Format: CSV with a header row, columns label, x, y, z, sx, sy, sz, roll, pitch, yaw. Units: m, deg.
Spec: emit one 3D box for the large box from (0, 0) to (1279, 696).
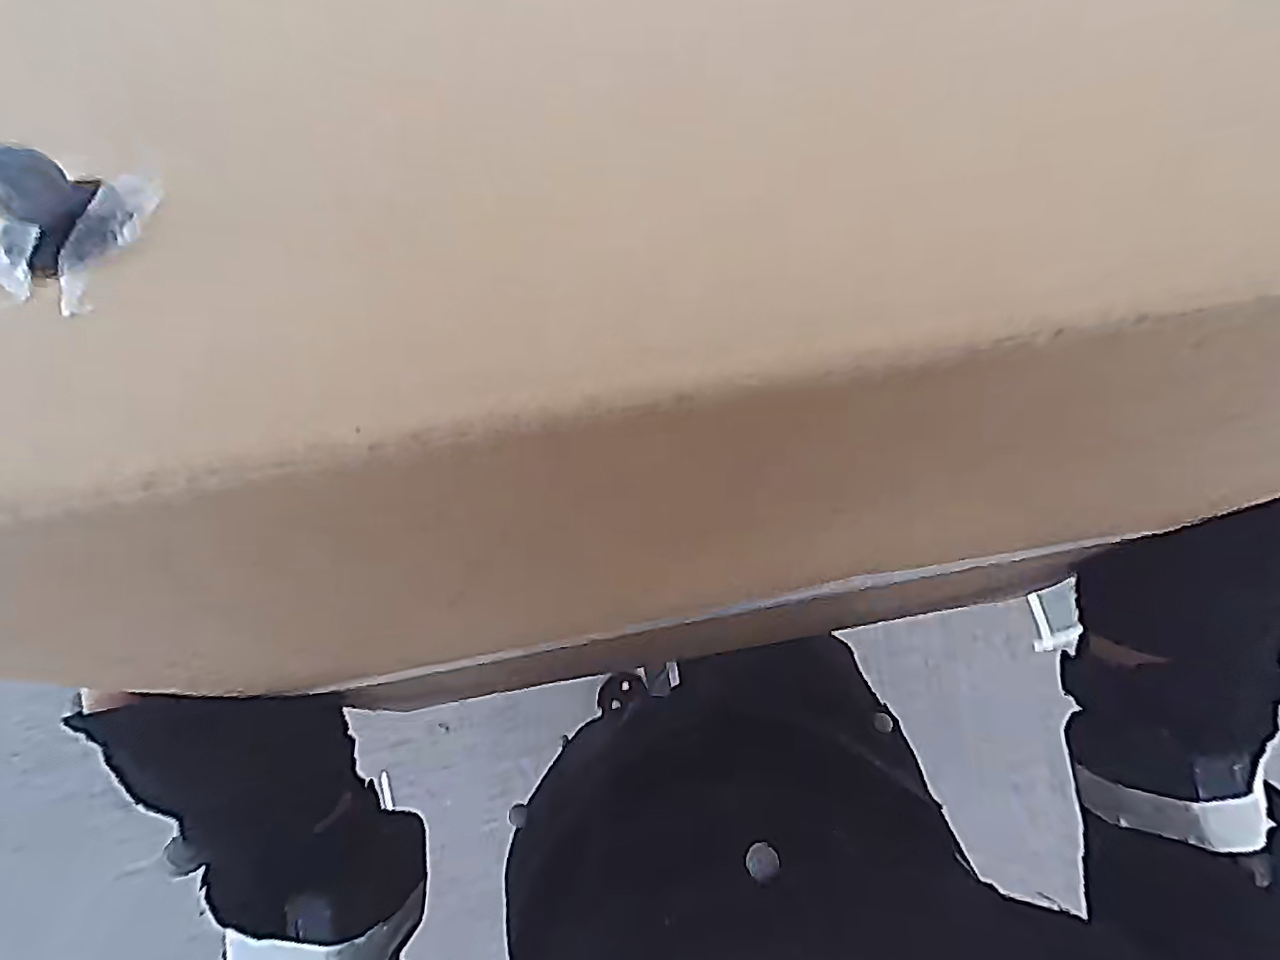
label,x,y,z,sx,sy,sz,roll,pitch,yaw
large box,0.016,-0.092,0.297,0.408,0.320,0.320,-10,65,-2
